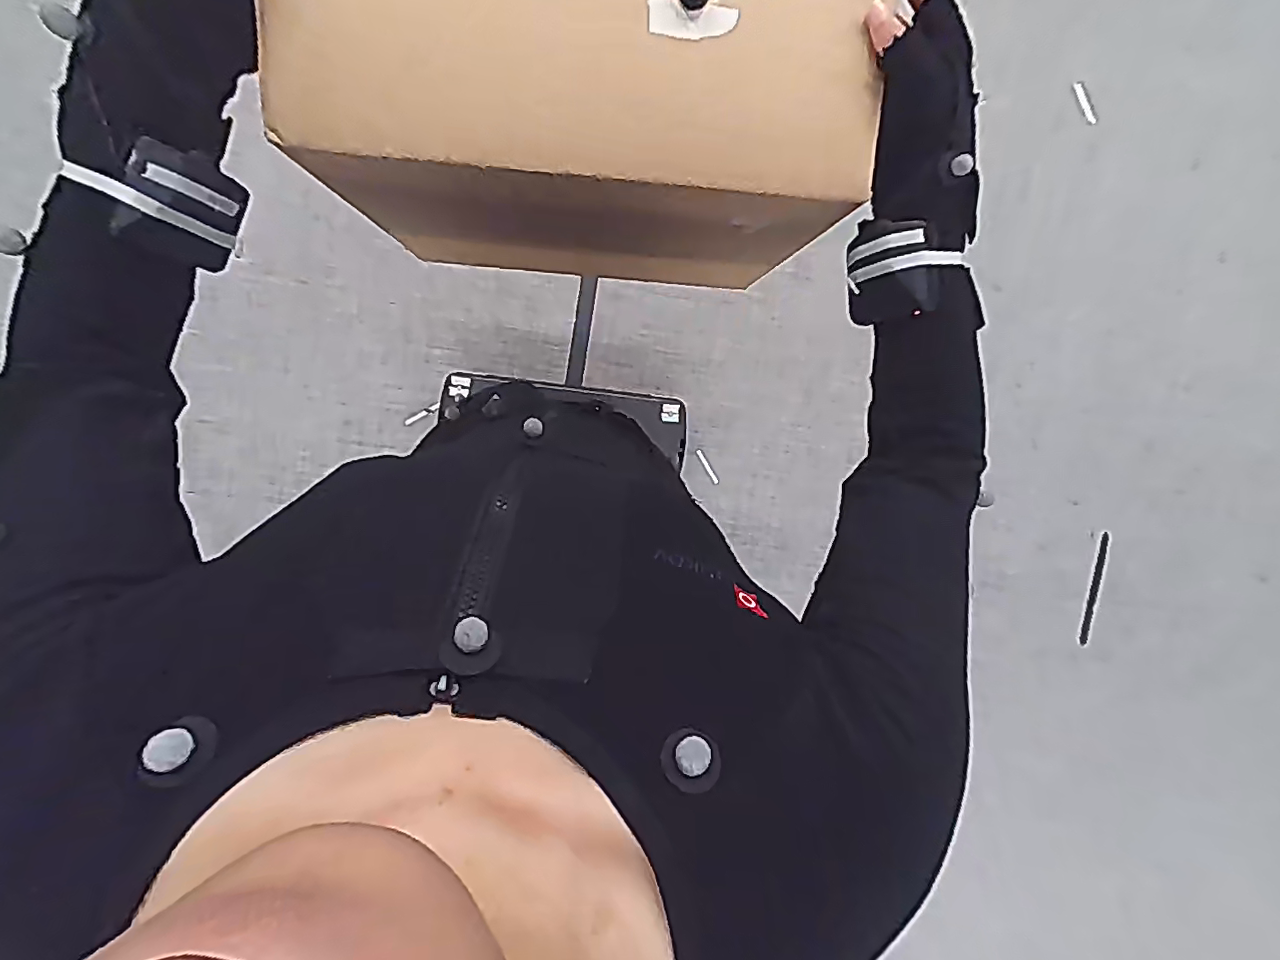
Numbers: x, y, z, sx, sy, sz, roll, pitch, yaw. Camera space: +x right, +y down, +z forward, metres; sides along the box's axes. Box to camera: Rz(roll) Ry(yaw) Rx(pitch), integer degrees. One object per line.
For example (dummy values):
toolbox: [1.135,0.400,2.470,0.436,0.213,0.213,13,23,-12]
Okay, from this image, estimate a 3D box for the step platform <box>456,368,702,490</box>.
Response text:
step platform: [-0.168,-0.145,1.551,0.684,0.204,0.286,5,97,-6]

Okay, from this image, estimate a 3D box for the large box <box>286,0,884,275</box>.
large box: [-0.040,-0.391,0.499,0.408,0.320,0.320,2,99,-6]
